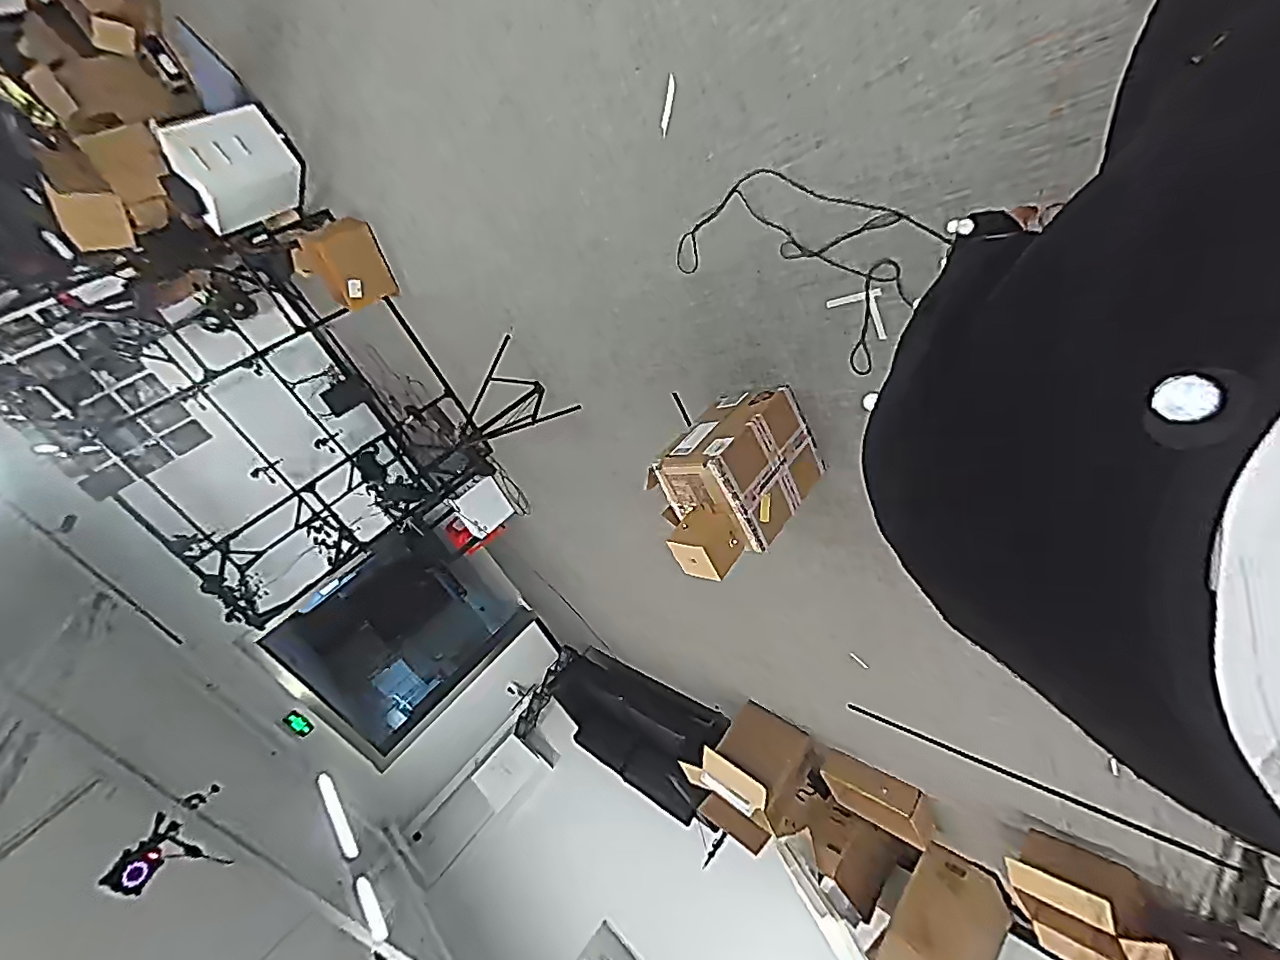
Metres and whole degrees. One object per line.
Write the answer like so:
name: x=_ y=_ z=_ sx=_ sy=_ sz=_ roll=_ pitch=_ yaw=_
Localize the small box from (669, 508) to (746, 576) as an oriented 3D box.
small box: x=0.241 y=0.211 z=1.906 sx=0.179 sy=0.176 sz=0.168 roll=1 pitch=130 yaw=48
